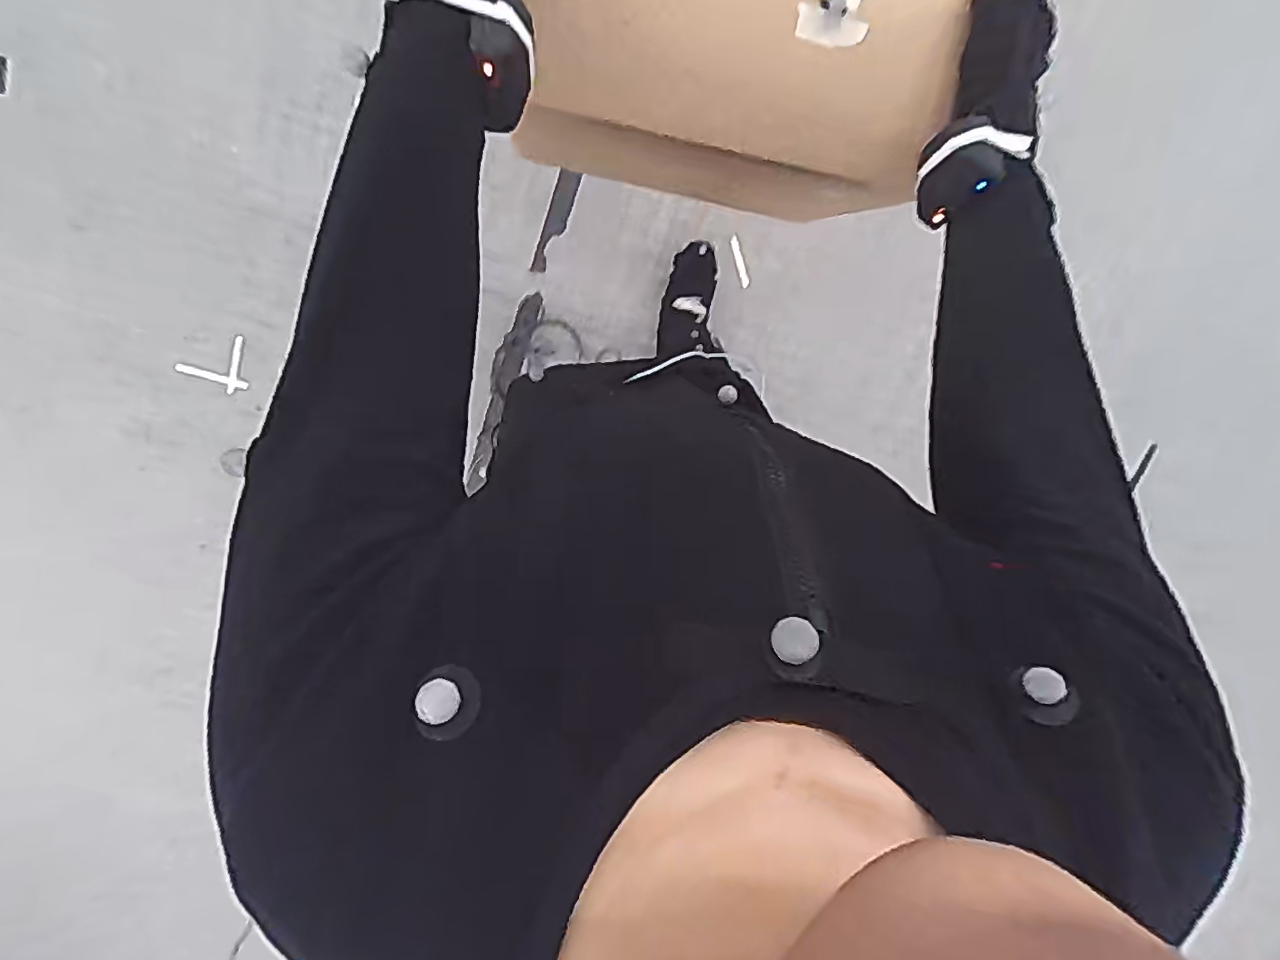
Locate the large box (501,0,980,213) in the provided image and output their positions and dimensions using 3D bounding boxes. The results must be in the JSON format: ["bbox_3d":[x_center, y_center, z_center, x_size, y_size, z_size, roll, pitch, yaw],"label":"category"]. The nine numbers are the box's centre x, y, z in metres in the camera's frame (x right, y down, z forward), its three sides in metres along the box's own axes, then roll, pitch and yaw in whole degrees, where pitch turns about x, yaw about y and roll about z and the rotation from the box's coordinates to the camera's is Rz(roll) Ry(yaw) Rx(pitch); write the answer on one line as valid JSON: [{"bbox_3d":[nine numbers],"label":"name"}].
[{"bbox_3d":[0.081,-0.494,0.568,0.408,0.320,0.320,7,112,-10],"label":"large box"}]
